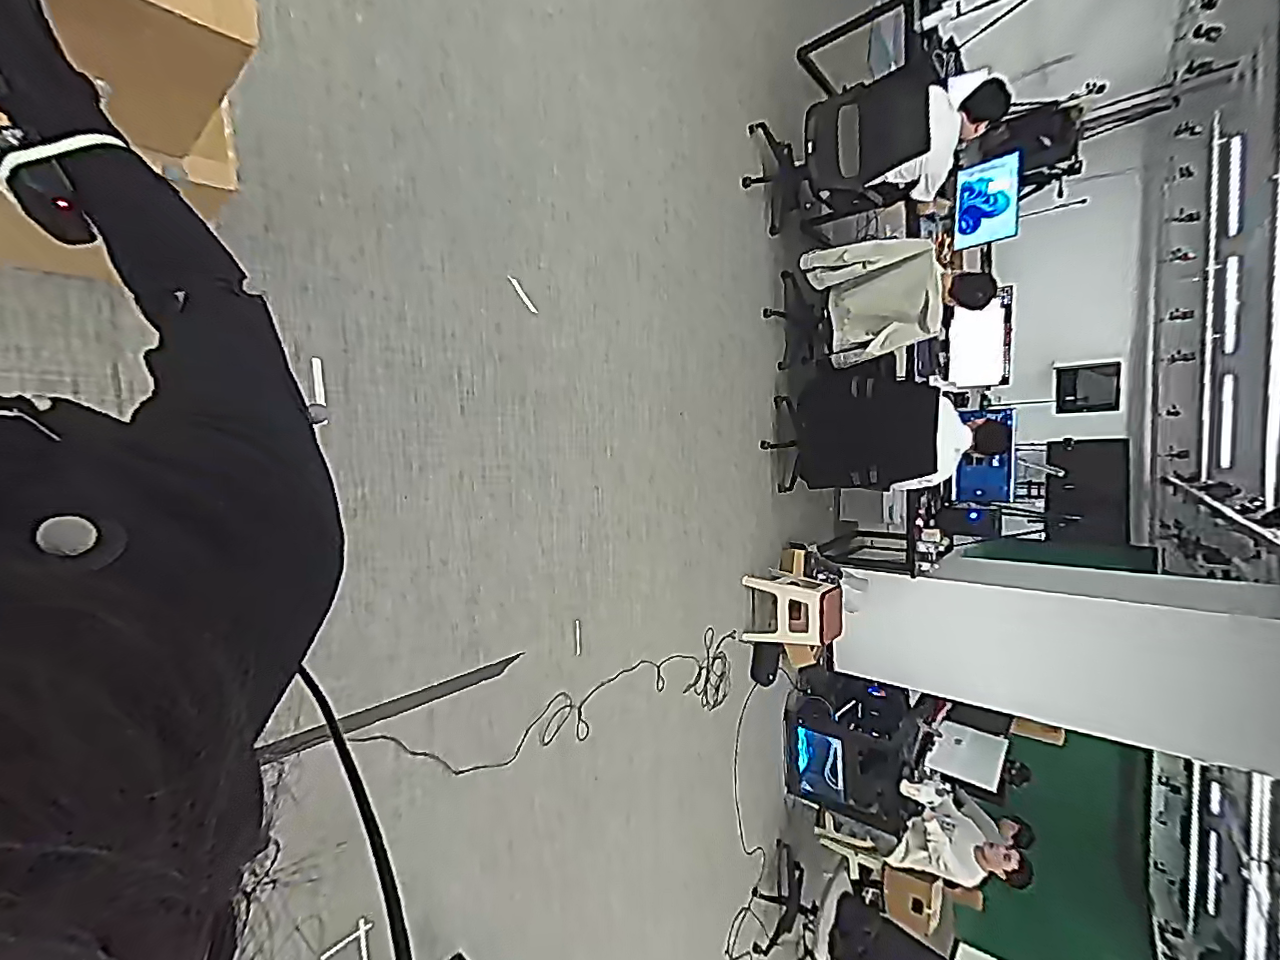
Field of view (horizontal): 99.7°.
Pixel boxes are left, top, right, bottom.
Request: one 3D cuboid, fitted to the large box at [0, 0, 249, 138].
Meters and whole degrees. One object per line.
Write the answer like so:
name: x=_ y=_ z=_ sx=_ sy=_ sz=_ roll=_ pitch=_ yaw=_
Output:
large box: x=-0.647 y=-0.584 z=0.475 sx=0.408 sy=0.320 sz=0.320 roll=-9 pitch=99 yaw=-52
